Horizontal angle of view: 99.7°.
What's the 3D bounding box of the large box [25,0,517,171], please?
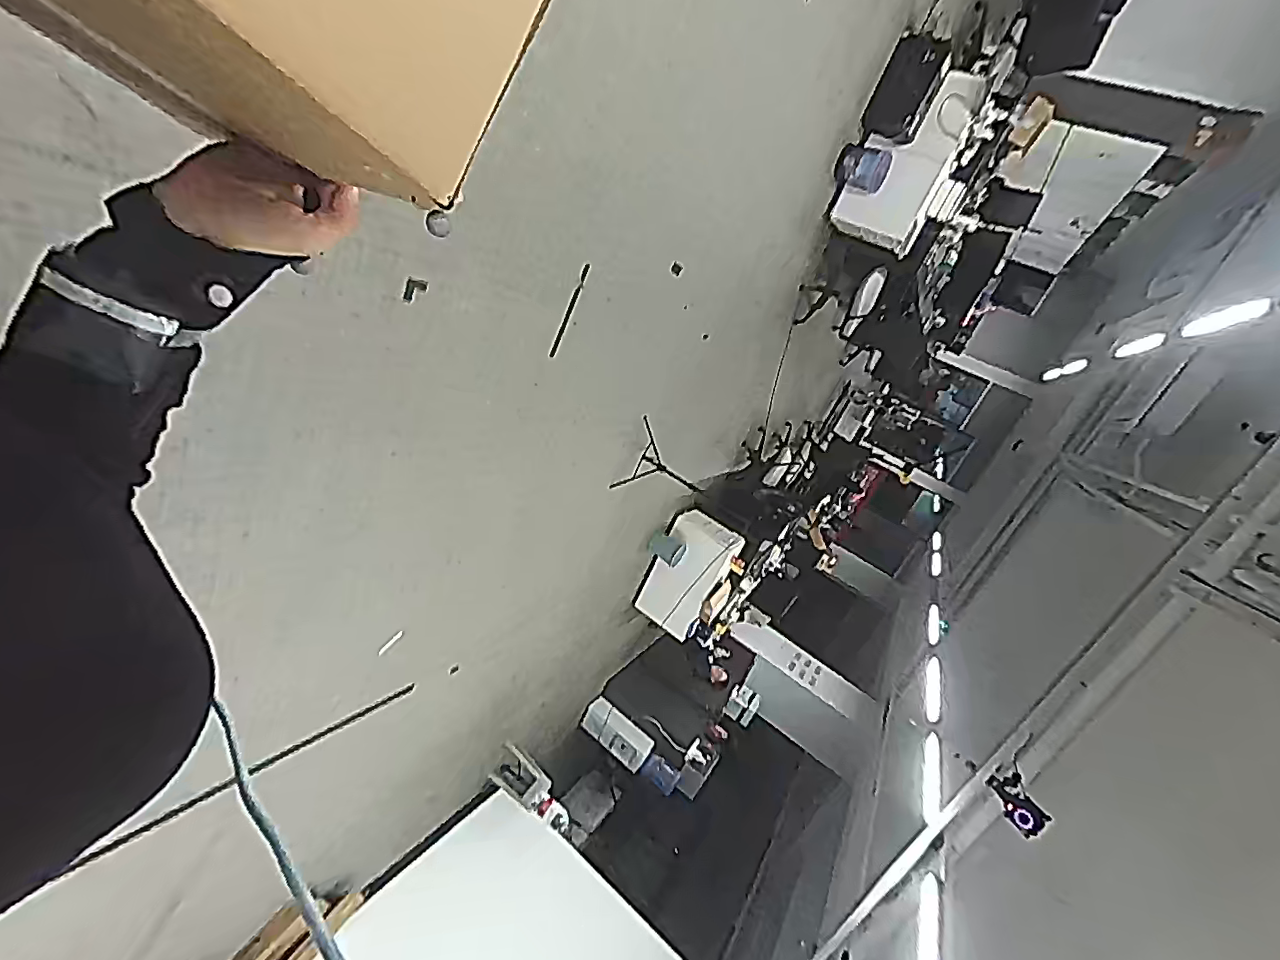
[{"bbox_3d":[-0.232,-0.371,0.138,0.320,0.320,0.408,-62,153,5],"label":"large box"}]
